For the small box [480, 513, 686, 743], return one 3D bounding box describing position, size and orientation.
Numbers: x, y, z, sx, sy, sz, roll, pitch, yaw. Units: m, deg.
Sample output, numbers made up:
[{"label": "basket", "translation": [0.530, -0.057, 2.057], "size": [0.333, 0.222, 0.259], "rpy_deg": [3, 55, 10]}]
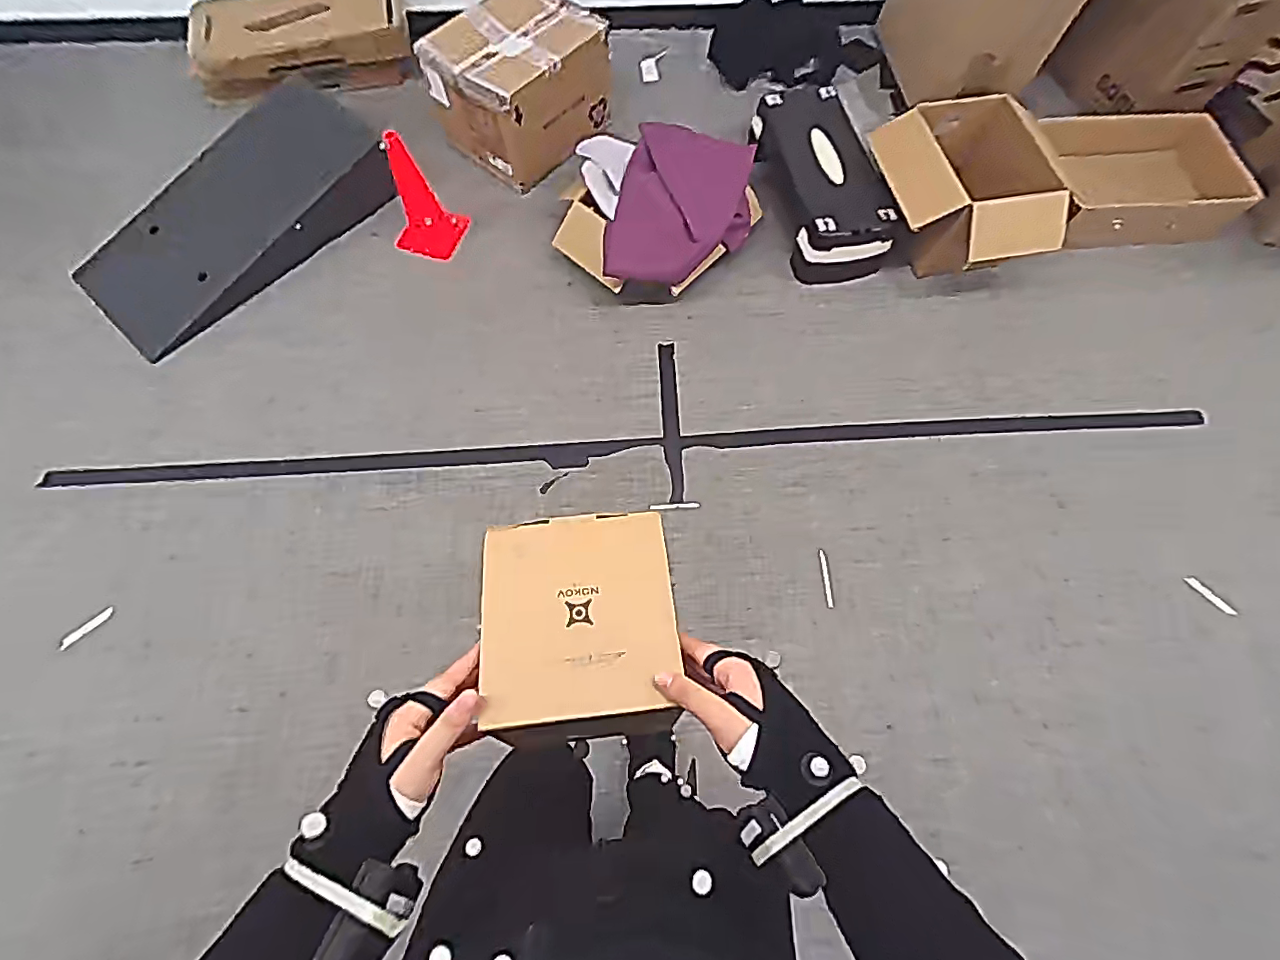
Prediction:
[{"label": "small box", "translation": [-0.054, 0.151, 0.537], "size": [0.168, 0.176, 0.179], "rpy_deg": [-4, 60, -4]}]
